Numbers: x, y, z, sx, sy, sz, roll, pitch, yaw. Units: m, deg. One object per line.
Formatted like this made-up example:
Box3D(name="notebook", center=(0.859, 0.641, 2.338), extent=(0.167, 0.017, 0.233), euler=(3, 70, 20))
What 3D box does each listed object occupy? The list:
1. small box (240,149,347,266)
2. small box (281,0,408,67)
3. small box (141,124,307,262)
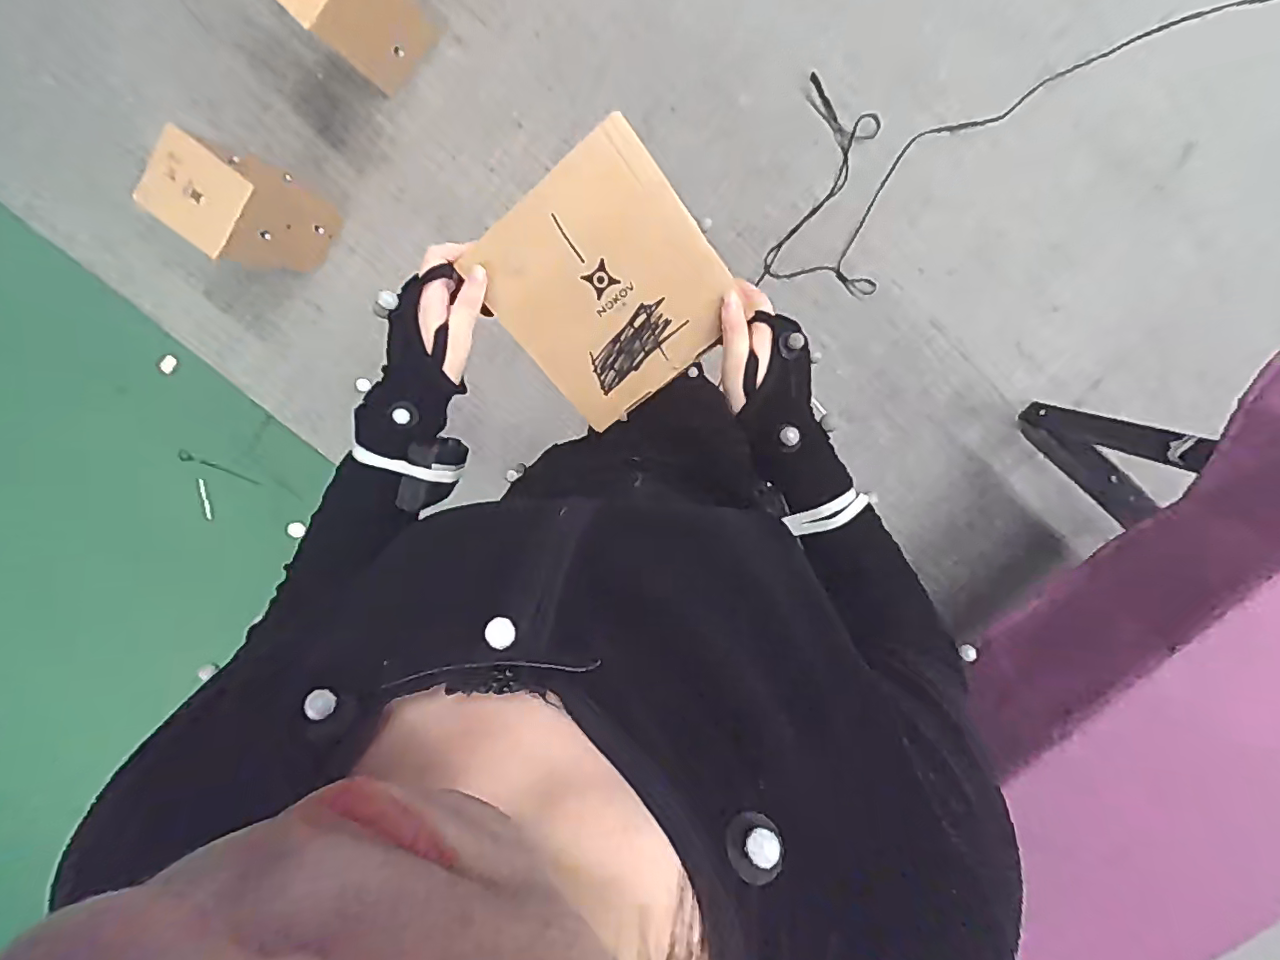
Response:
Box3D(name="small box", center=(-0.826, -0.617, 1.254), extent=(0.179, 0.176, 0.168), euler=(40, 103, -9))
Box3D(name="small box", center=(-0.561, -0.913, 0.984), extent=(0.179, 0.176, 0.168), euler=(-43, 101, 13))
Box3D(name="small box", center=(-0.830, -0.566, 1.097), extent=(0.179, 0.176, 0.168), euler=(39, 103, -10))
